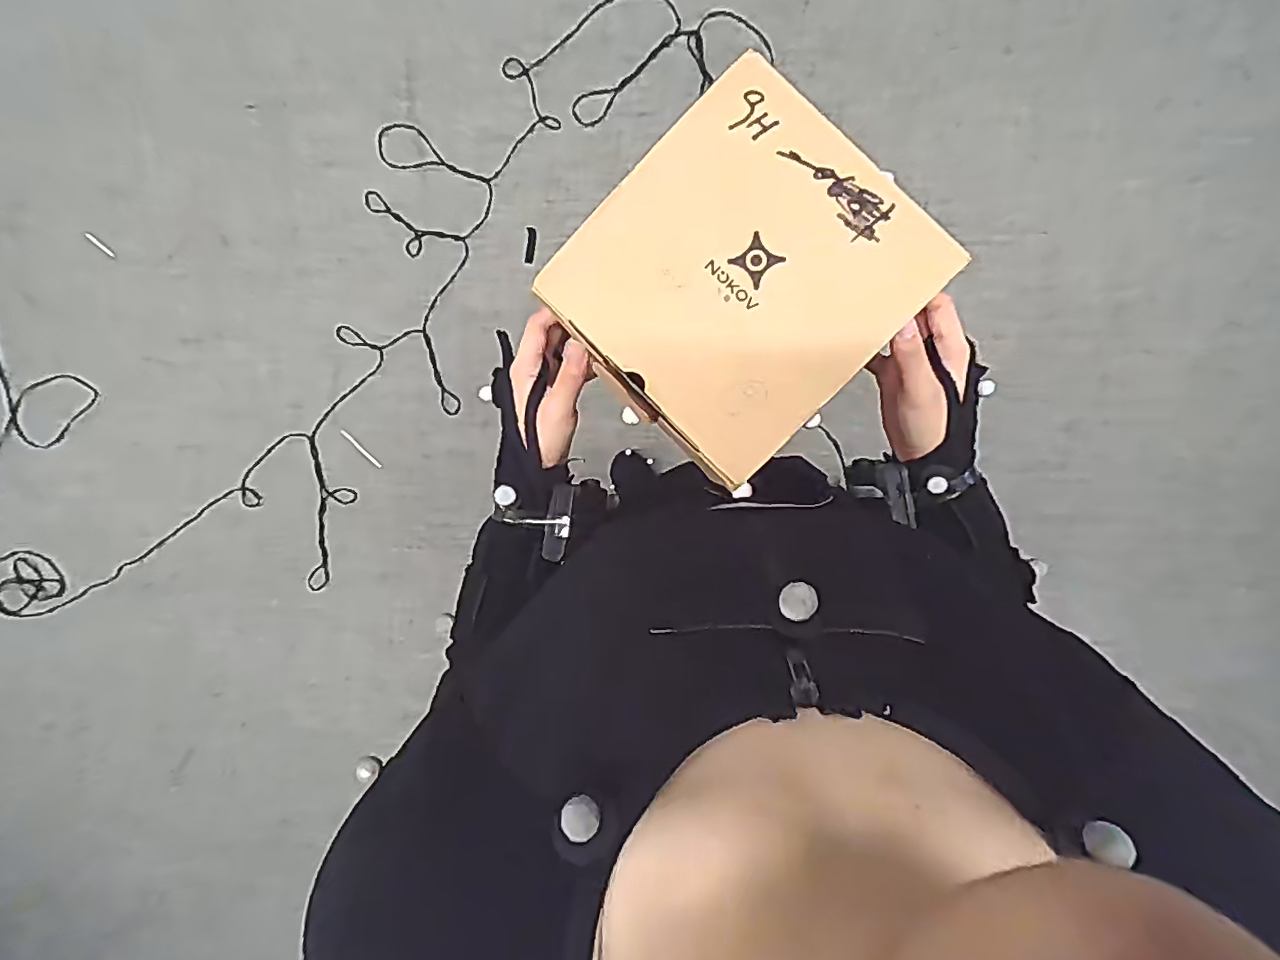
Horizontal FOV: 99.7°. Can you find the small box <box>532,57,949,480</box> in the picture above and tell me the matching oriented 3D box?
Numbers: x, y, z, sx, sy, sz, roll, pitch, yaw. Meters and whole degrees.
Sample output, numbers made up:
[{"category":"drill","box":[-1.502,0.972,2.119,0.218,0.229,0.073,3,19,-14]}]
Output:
[{"category":"small box","box":[0.060,-0.118,0.380,0.168,0.176,0.179,45,96,1]}]
